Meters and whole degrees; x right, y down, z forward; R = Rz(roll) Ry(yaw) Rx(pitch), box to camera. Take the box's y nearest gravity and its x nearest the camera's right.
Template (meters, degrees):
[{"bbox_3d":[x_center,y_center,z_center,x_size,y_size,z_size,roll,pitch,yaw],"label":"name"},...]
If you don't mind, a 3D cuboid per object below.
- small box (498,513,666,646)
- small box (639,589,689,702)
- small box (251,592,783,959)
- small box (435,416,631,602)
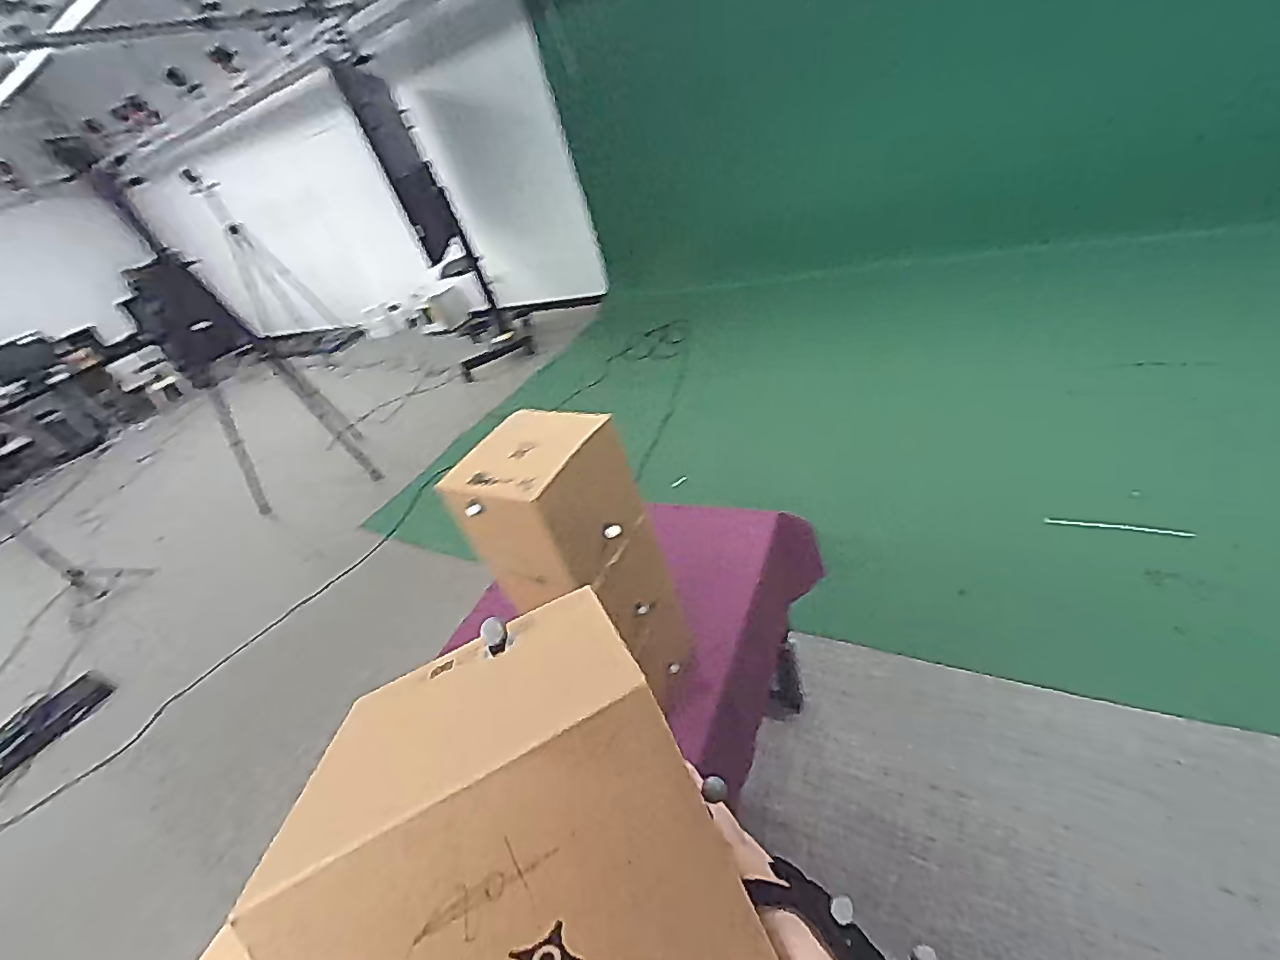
[{"bbox_3d":[-0.083,0.158,0.821,0.179,0.176,0.168,5,42,30],"label":"small box"},{"bbox_3d":[-0.039,0.285,0.912,0.179,0.176,0.168,5,42,30],"label":"small box"},{"bbox_3d":[-0.047,0.188,0.290,0.168,0.179,0.176,-25,10,-11],"label":"small box"},{"bbox_3d":[-0.127,0.033,0.724,0.168,0.176,0.179,6,42,32],"label":"small box"}]
